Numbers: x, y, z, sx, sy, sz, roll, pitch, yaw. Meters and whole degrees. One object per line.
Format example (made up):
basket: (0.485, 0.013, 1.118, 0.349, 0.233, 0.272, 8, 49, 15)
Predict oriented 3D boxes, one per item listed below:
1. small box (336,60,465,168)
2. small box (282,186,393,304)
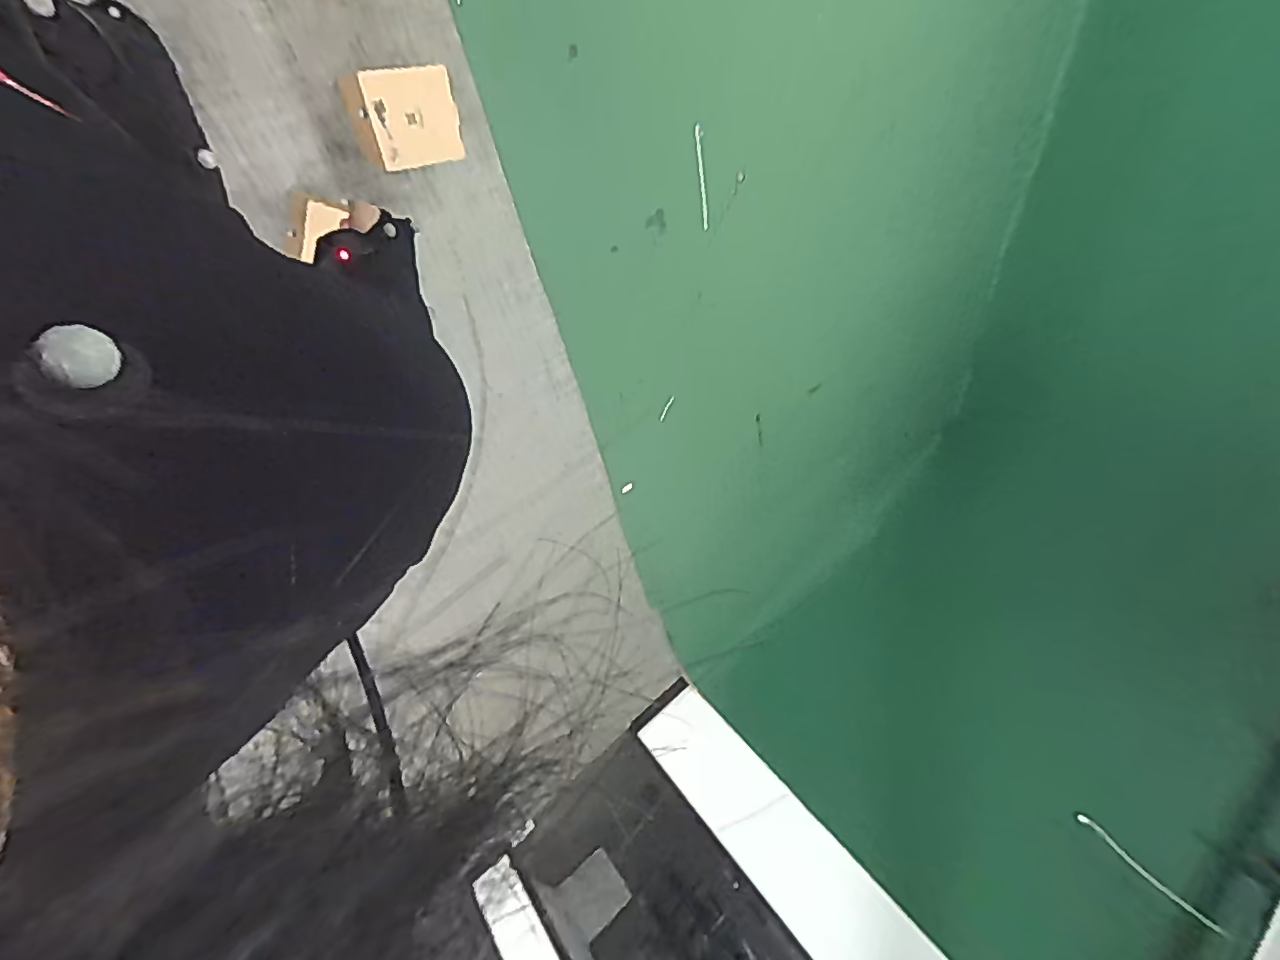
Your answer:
small box: (-0.497, -0.766, 1.126, 0.179, 0.176, 0.168, -28, 136, -26)
small box: (-0.661, -0.509, 1.171, 0.168, 0.176, 0.179, 1, 118, -44)
